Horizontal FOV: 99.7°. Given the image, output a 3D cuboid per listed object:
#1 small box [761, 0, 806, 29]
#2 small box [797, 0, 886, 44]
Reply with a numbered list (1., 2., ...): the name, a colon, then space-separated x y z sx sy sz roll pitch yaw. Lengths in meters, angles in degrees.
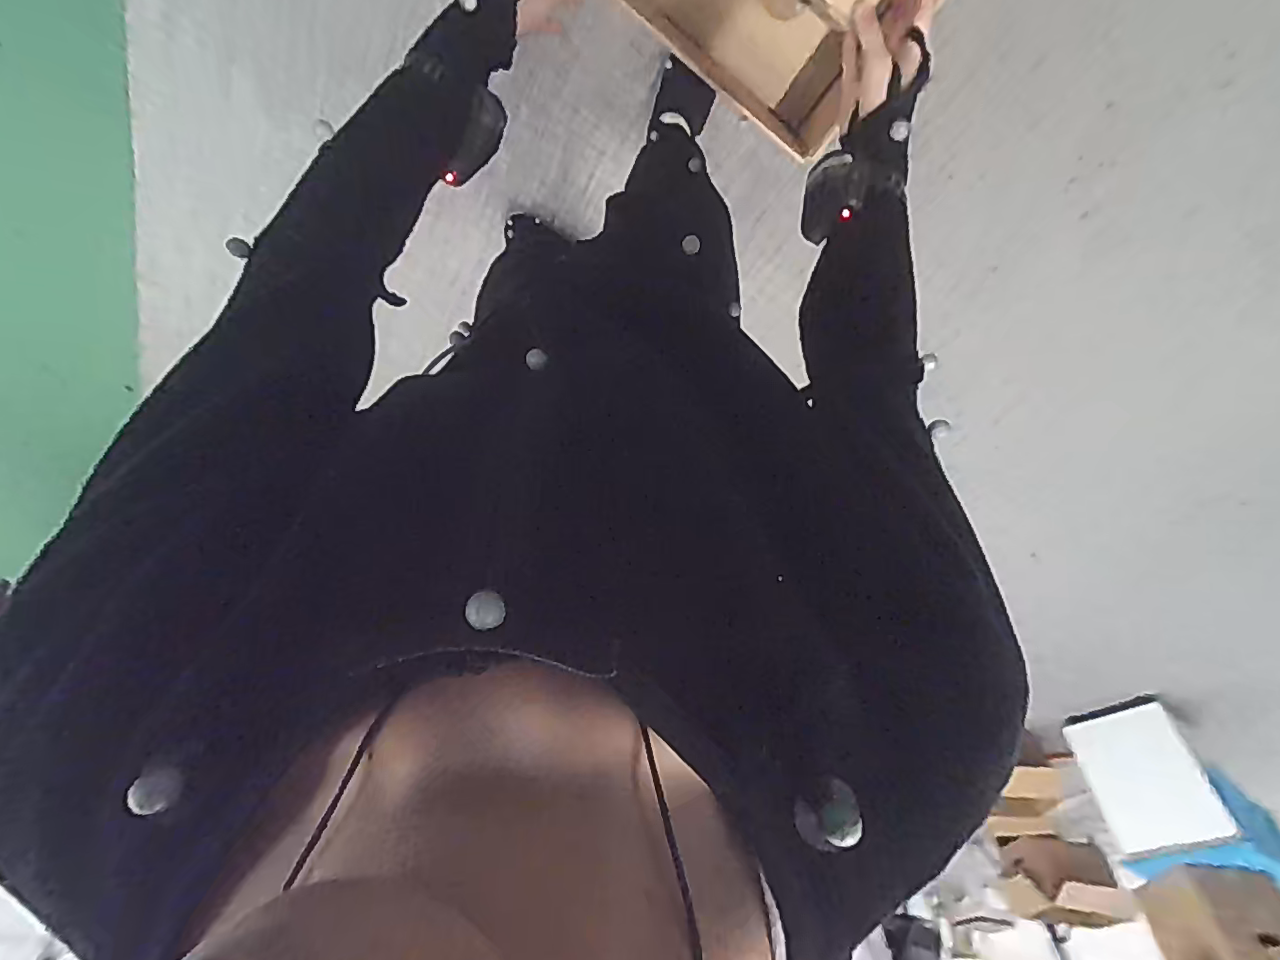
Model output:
1. small box: 0.176 -0.638 0.576 0.168 0.176 0.179 39 127 -24
2. small box: 0.179 -0.523 0.458 0.168 0.176 0.179 30 130 -17
